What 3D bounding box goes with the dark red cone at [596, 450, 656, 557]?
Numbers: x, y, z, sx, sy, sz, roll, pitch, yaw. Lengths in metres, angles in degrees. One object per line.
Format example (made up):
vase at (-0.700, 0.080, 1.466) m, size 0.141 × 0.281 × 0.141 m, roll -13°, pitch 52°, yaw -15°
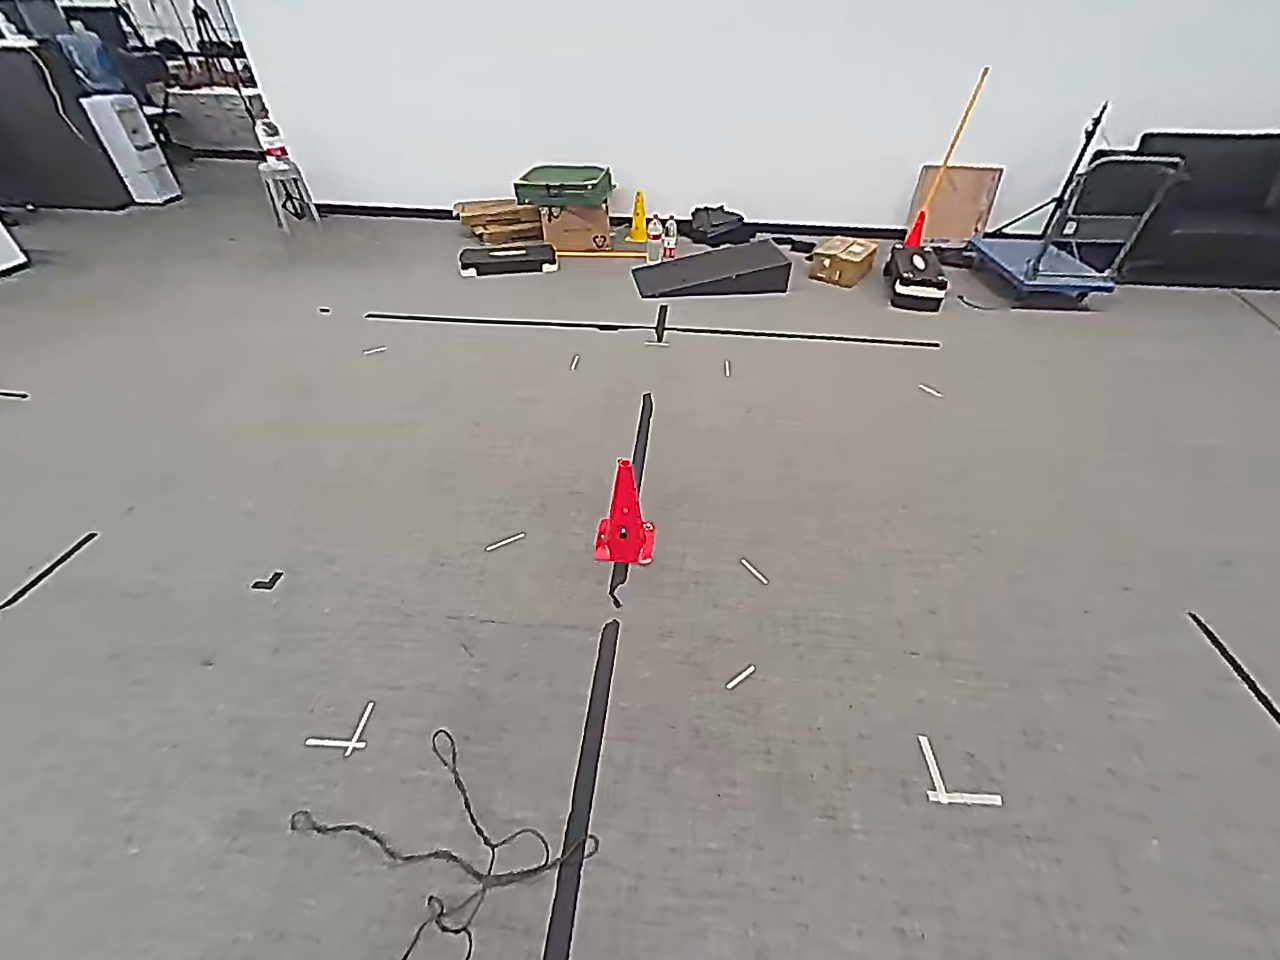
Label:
dark red cone at (-0.045, 0.063, 1.770) m, size 0.201 × 0.394 × 0.202 m, roll 3°, pitch 42°, yaw 4°
